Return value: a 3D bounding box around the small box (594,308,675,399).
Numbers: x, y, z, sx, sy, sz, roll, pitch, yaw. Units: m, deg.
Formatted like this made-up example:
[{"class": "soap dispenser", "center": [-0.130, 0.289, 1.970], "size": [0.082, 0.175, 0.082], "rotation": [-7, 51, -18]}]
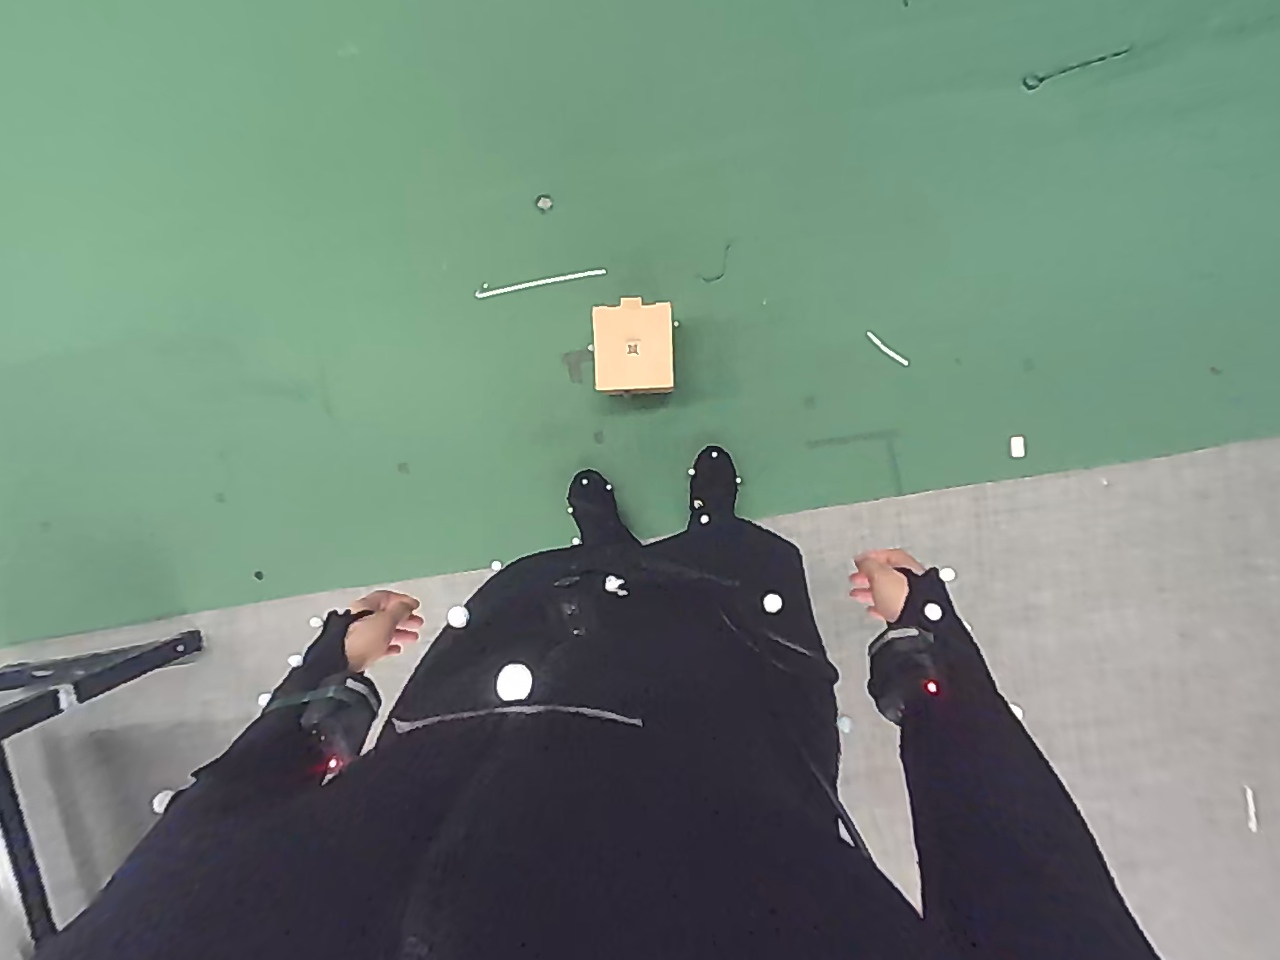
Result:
[{"class": "small box", "center": [-0.007, -0.273, 1.204], "size": [0.168, 0.176, 0.179], "rotation": [-2, 94, 3]}]
